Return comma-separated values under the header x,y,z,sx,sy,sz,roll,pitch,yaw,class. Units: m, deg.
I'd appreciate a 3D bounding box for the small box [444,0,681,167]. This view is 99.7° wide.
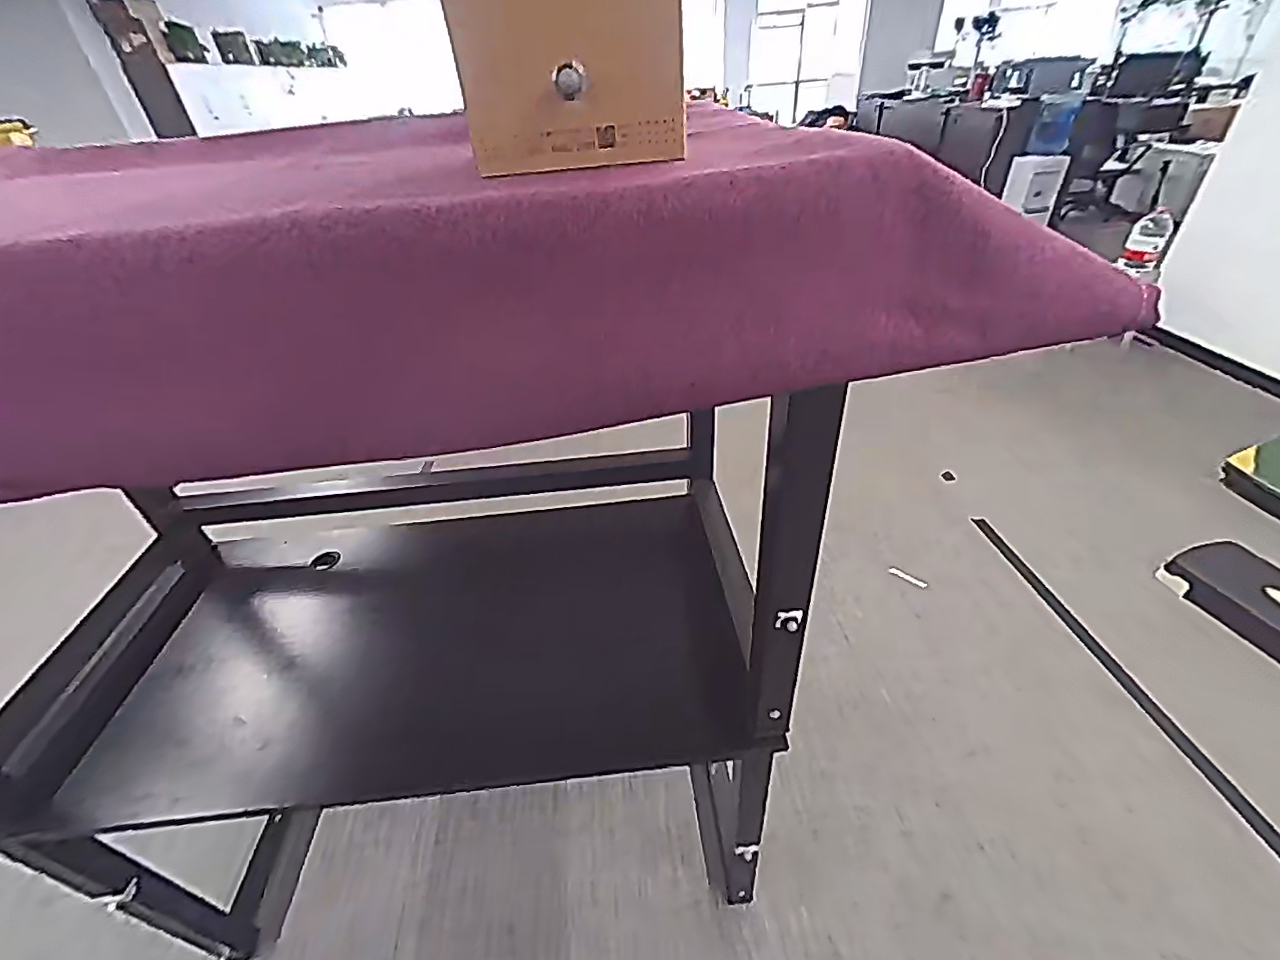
x,y,z,sx,sy,sz,roll,pitch,yaw,class
-0.056,-0.362,0.440,0.168,0.176,0.179,-5,37,2,small box
